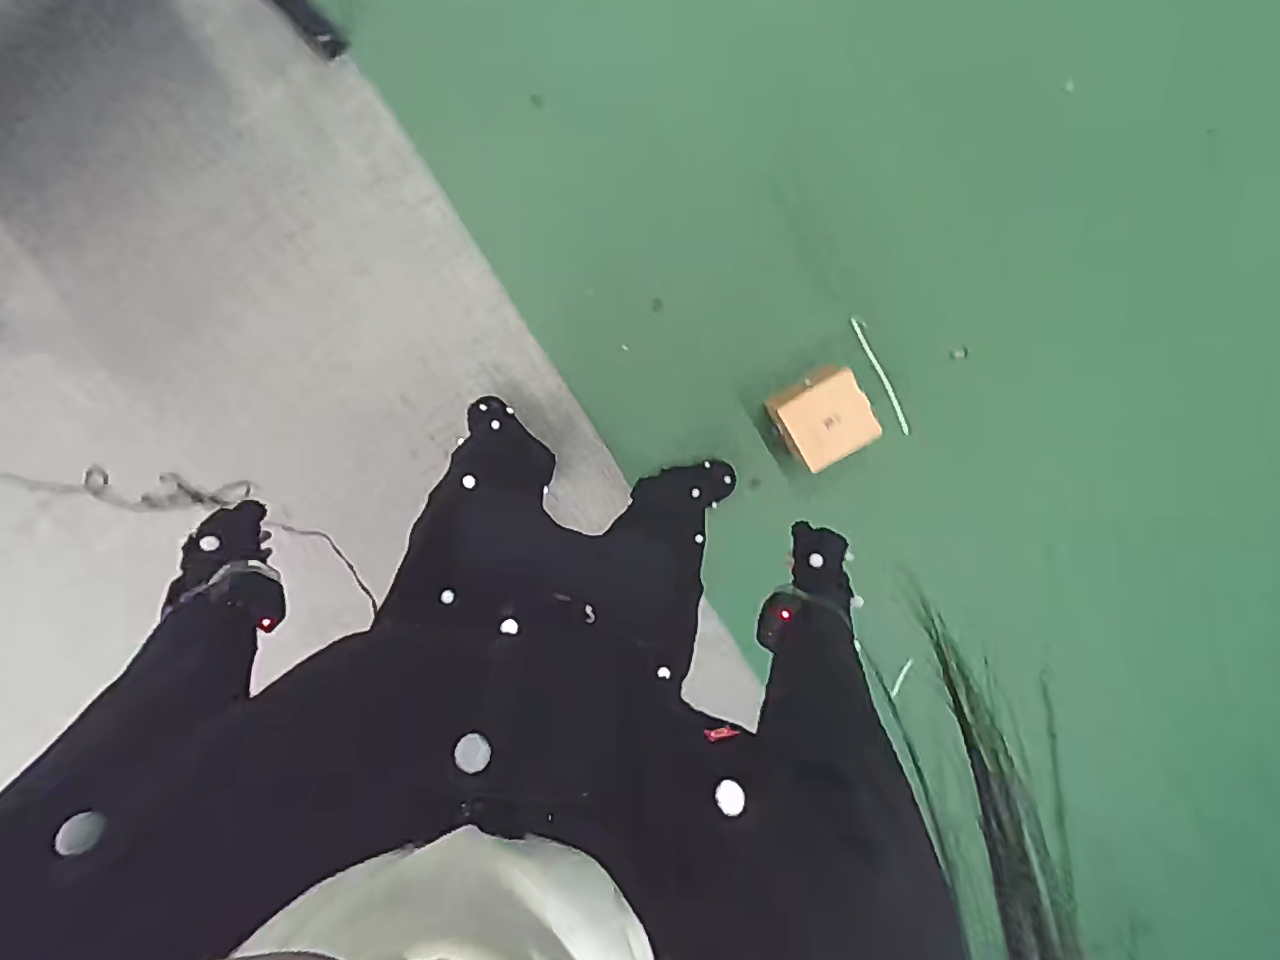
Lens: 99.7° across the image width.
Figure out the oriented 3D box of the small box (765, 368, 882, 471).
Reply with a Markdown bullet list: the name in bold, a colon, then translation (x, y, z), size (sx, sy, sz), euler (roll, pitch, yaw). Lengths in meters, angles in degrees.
- **small box**: translation (0.407, -0.145, 1.229), size (0.179, 0.176, 0.168), euler (-28, 100, 8)
